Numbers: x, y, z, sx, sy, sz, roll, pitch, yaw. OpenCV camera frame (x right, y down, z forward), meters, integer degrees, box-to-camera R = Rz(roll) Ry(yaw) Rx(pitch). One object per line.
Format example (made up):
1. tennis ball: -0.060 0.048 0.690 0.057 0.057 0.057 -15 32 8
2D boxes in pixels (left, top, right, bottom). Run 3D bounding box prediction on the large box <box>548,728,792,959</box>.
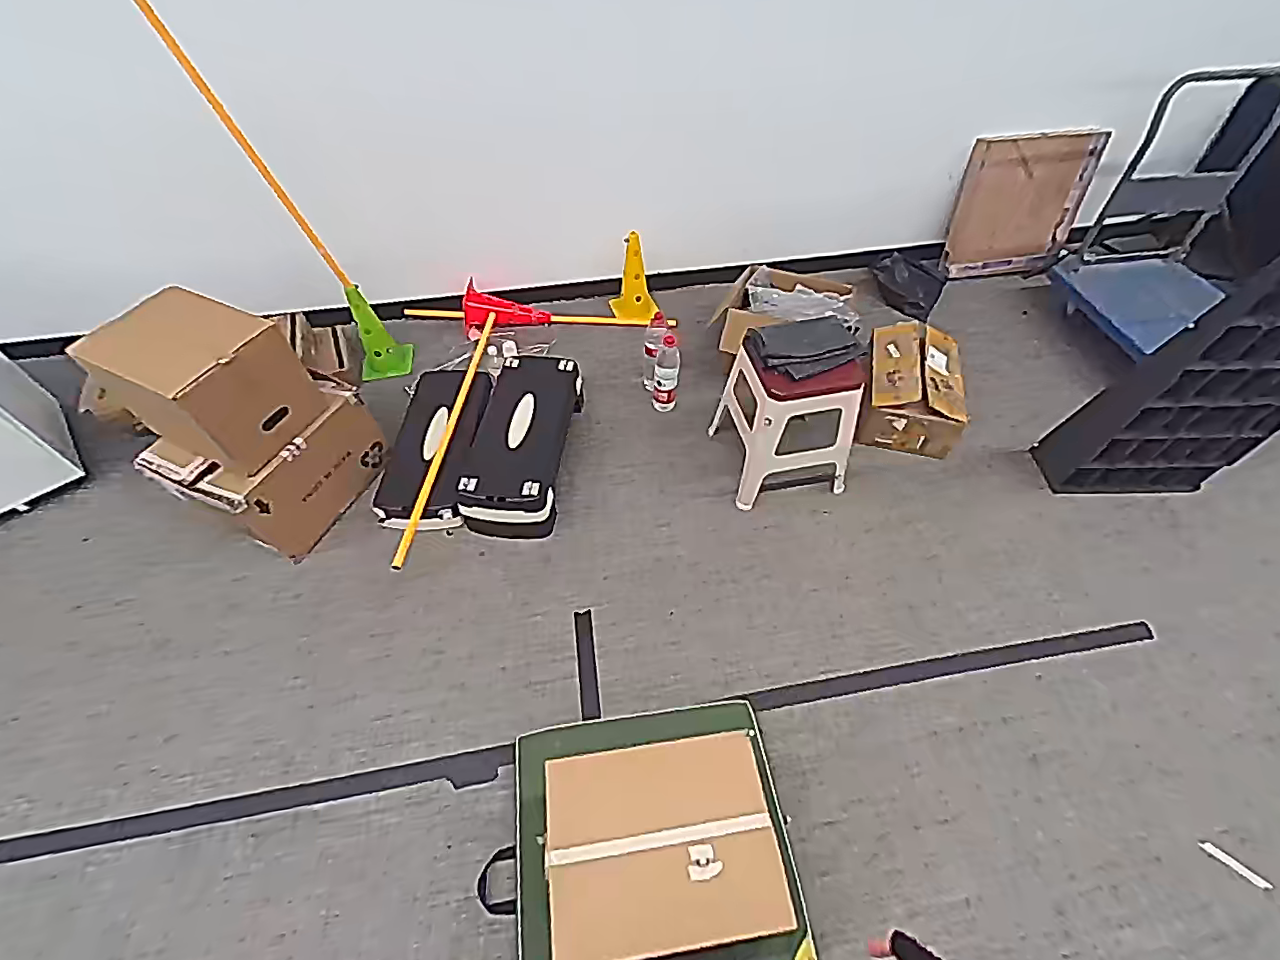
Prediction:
1. large box: 0.038 0.737 1.096 0.408 0.320 0.320 -7 52 -6
